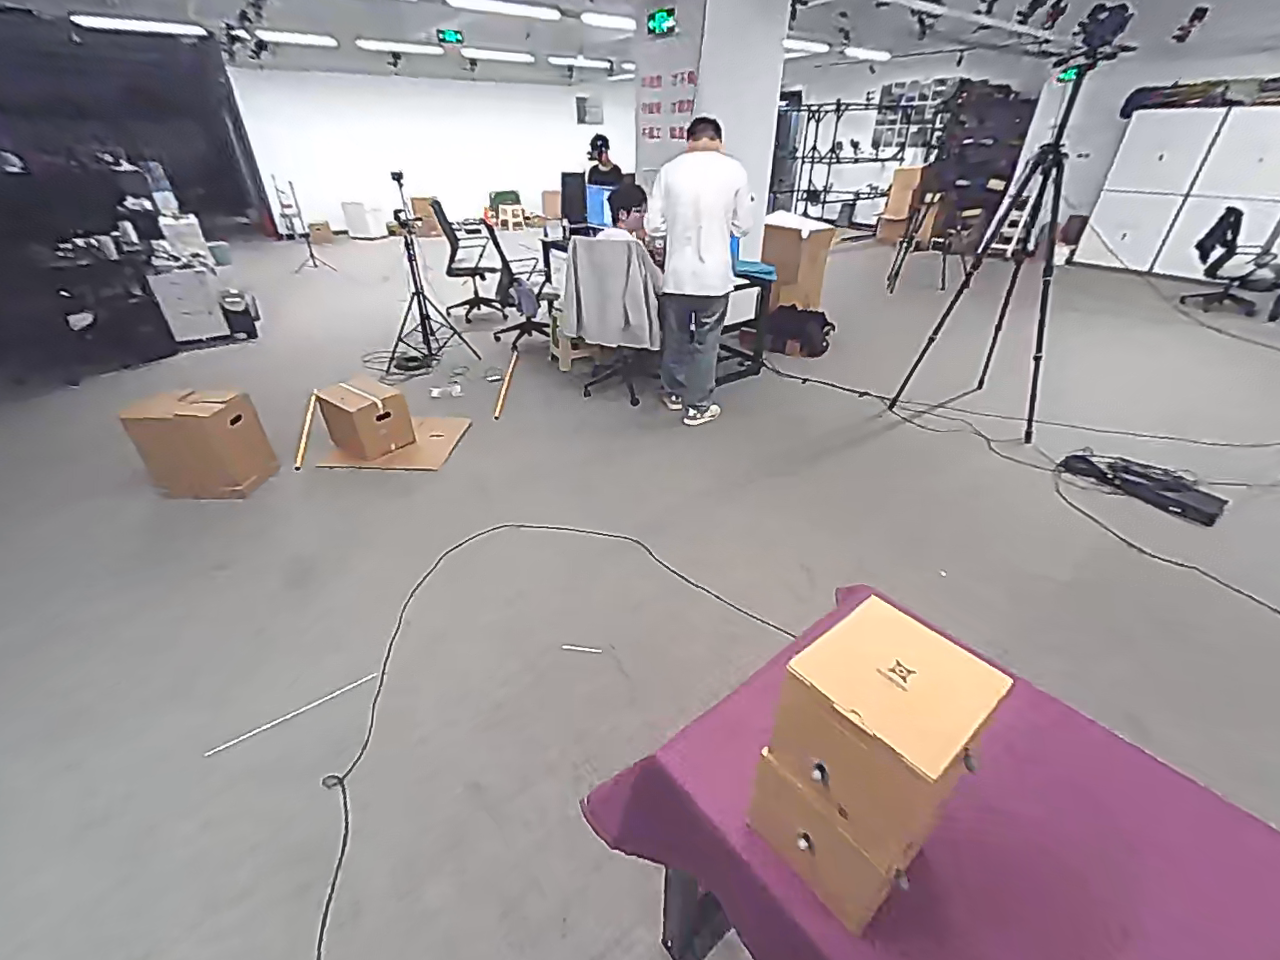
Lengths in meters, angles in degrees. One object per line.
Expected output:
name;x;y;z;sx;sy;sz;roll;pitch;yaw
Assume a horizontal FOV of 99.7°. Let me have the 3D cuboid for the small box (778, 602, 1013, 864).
small box;0.278;0.281;0.621;0.179;0.176;0.168;-23;39;-32
